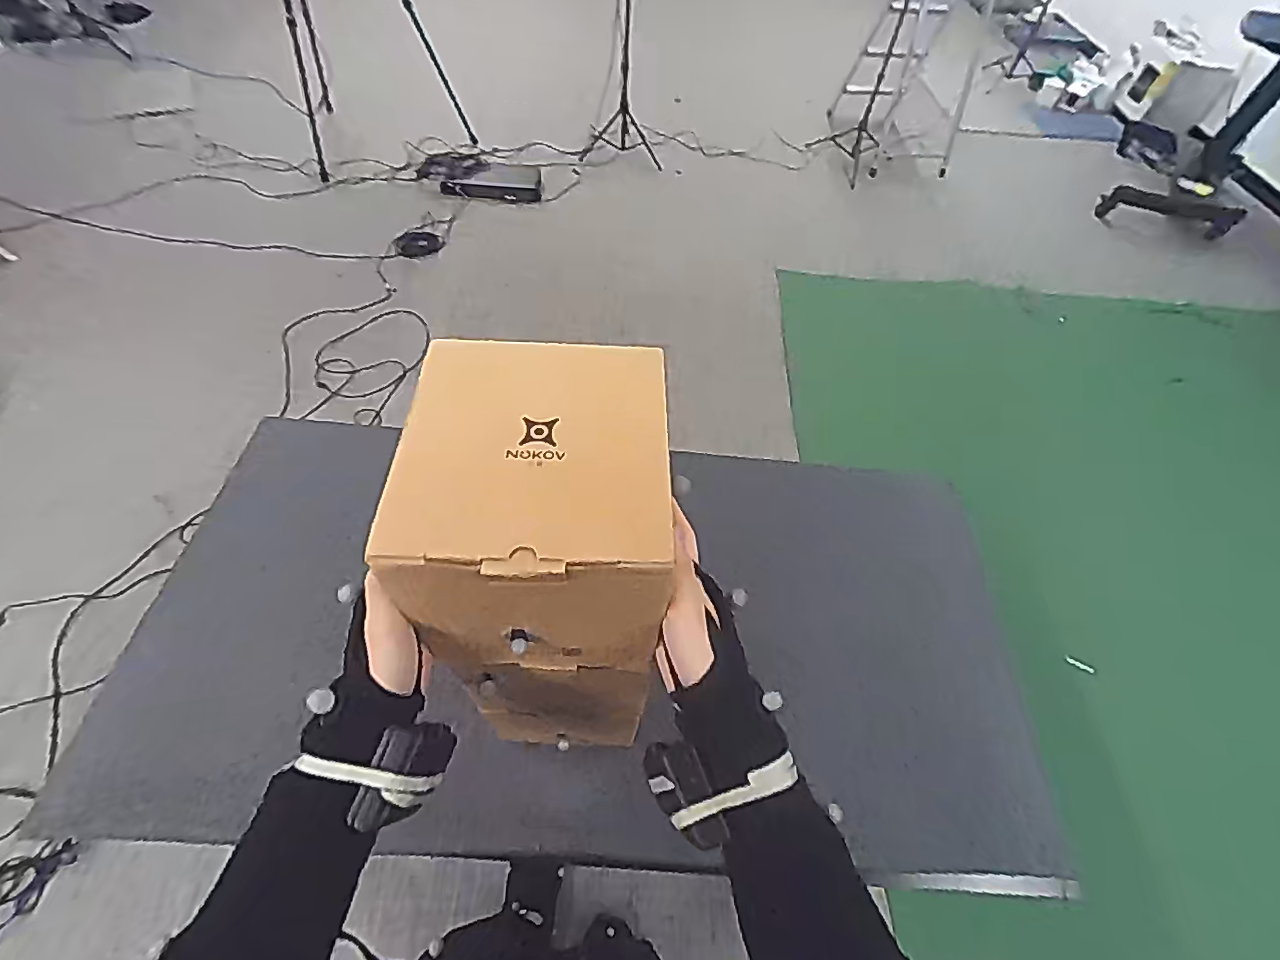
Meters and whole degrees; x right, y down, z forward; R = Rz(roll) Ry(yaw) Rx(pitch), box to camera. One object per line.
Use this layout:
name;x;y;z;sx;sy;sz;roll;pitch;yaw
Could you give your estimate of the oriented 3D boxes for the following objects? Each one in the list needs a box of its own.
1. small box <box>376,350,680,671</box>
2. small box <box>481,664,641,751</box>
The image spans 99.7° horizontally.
small box;-0.067;0.029;0.402;0.168;0.176;0.179;1;55;-5
small box;-0.085;0.220;0.666;0.168;0.176;0.179;4;55;-2
